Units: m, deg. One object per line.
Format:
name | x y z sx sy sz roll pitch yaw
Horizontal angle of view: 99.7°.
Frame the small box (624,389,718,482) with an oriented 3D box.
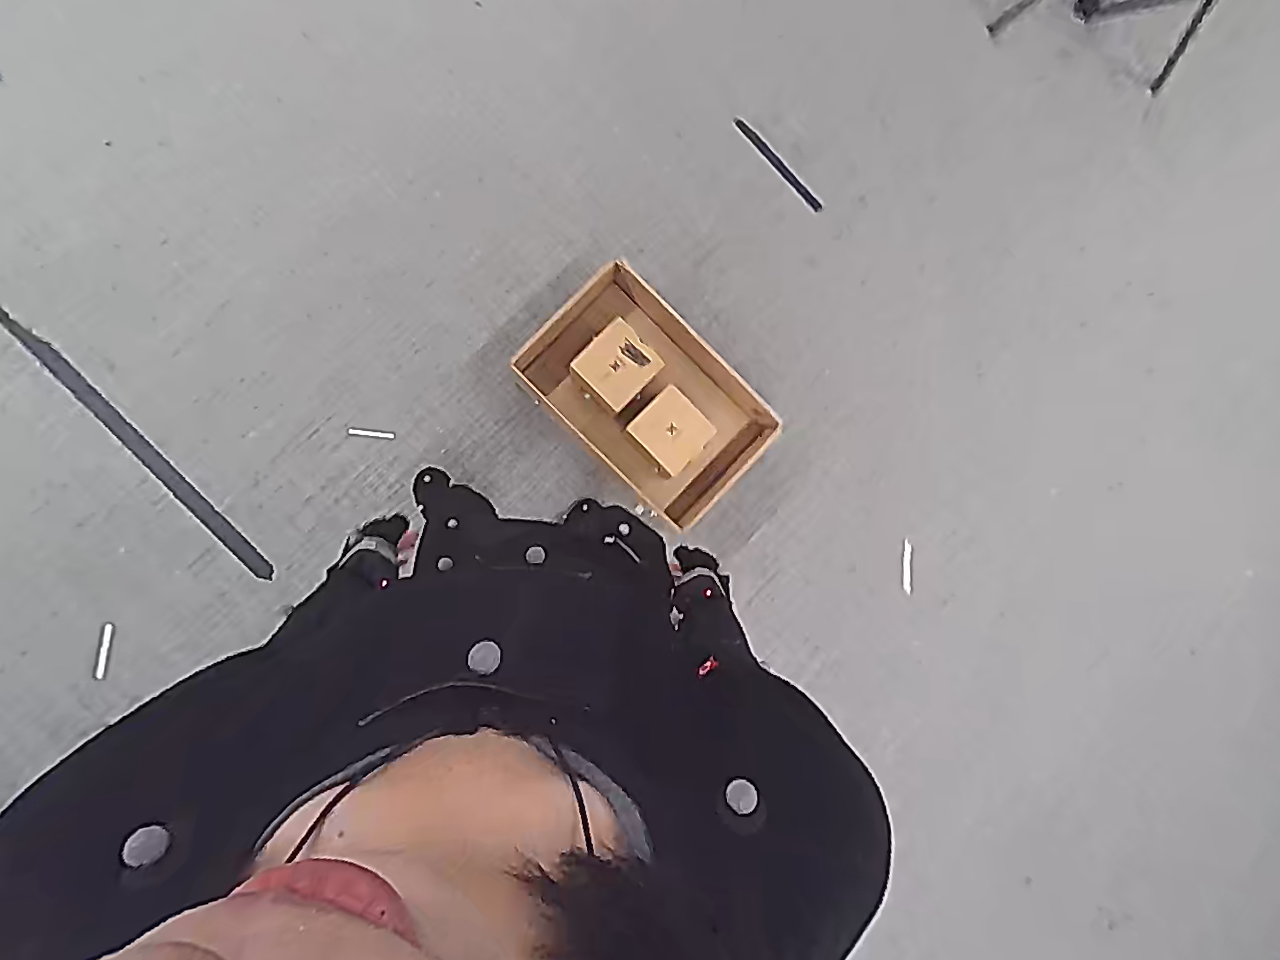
small box | 0.074 -0.109 1.423 0.179 0.176 0.168 45 84 -1
